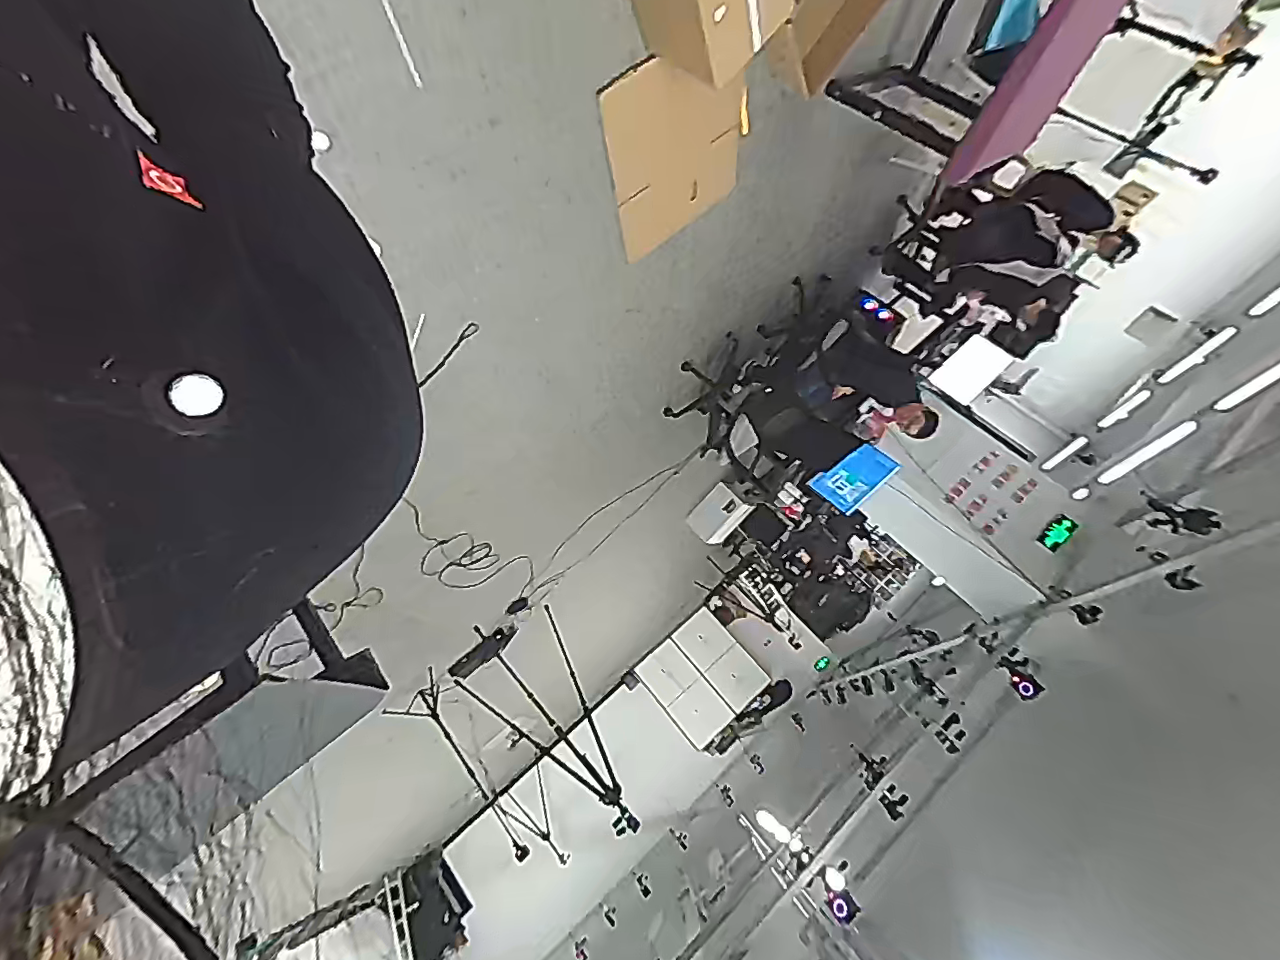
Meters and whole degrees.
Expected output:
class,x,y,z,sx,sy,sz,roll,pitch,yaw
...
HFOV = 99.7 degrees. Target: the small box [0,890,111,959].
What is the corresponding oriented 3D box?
class,x,y,z,sx,sy,sz,roll,pitch,yaw
small box,-1.416,1.109,1.260,0.168,0.176,0.179,-40,159,-13
